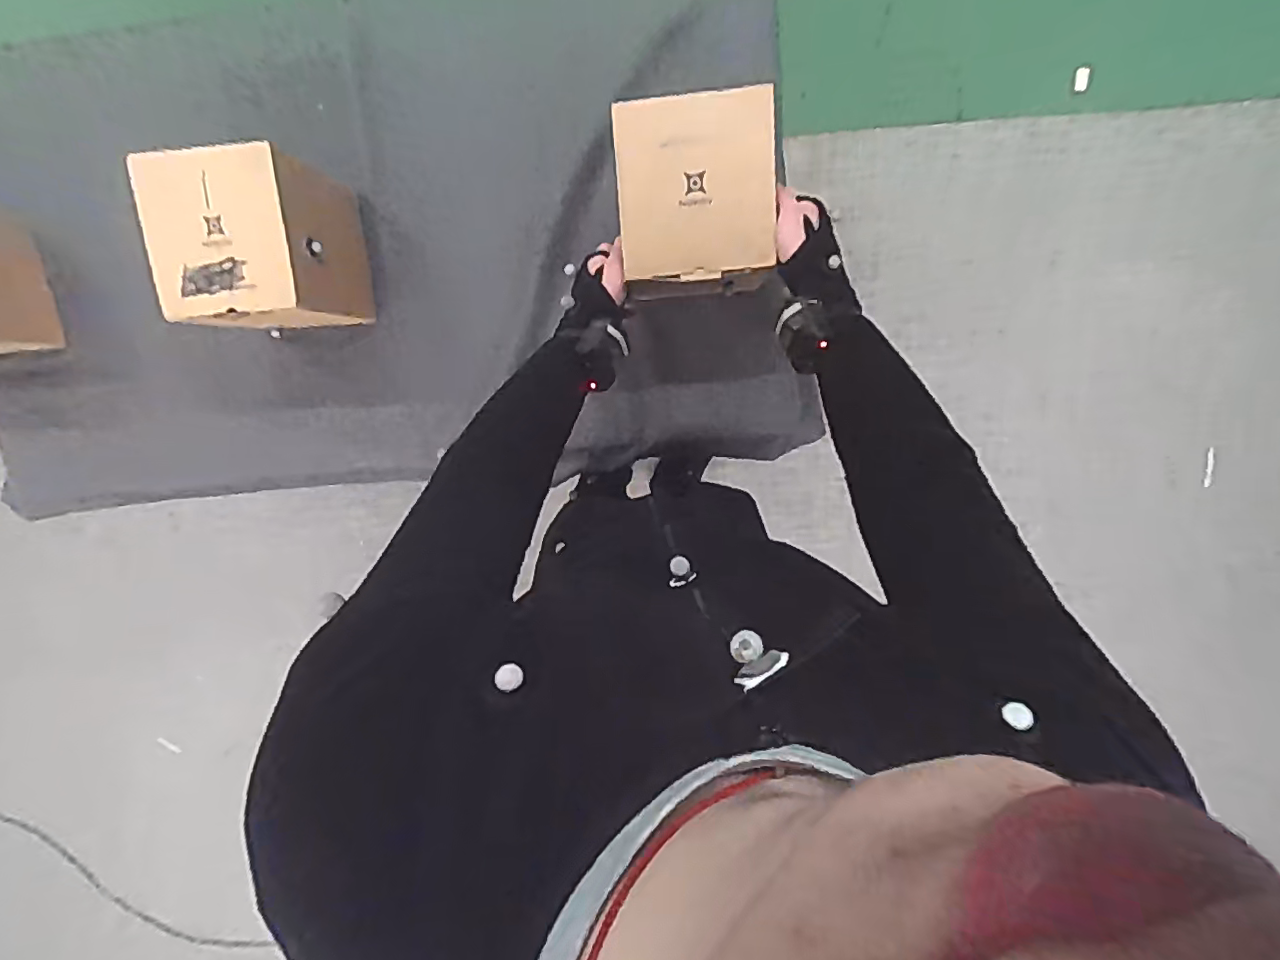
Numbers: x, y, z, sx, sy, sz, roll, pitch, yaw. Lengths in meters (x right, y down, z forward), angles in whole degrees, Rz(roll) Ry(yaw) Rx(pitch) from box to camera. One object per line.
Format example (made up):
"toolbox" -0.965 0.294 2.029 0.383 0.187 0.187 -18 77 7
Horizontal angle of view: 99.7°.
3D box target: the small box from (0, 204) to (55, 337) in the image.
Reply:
"small box" -0.937 -0.273 0.700 0.168 0.176 0.179 -5 104 3

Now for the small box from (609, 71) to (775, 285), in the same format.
"small box" 0.059 -0.328 0.628 0.168 0.176 0.179 -4 102 3

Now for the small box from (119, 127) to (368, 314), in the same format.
"small box" -0.465 -0.301 0.667 0.168 0.176 0.179 -3 103 4
